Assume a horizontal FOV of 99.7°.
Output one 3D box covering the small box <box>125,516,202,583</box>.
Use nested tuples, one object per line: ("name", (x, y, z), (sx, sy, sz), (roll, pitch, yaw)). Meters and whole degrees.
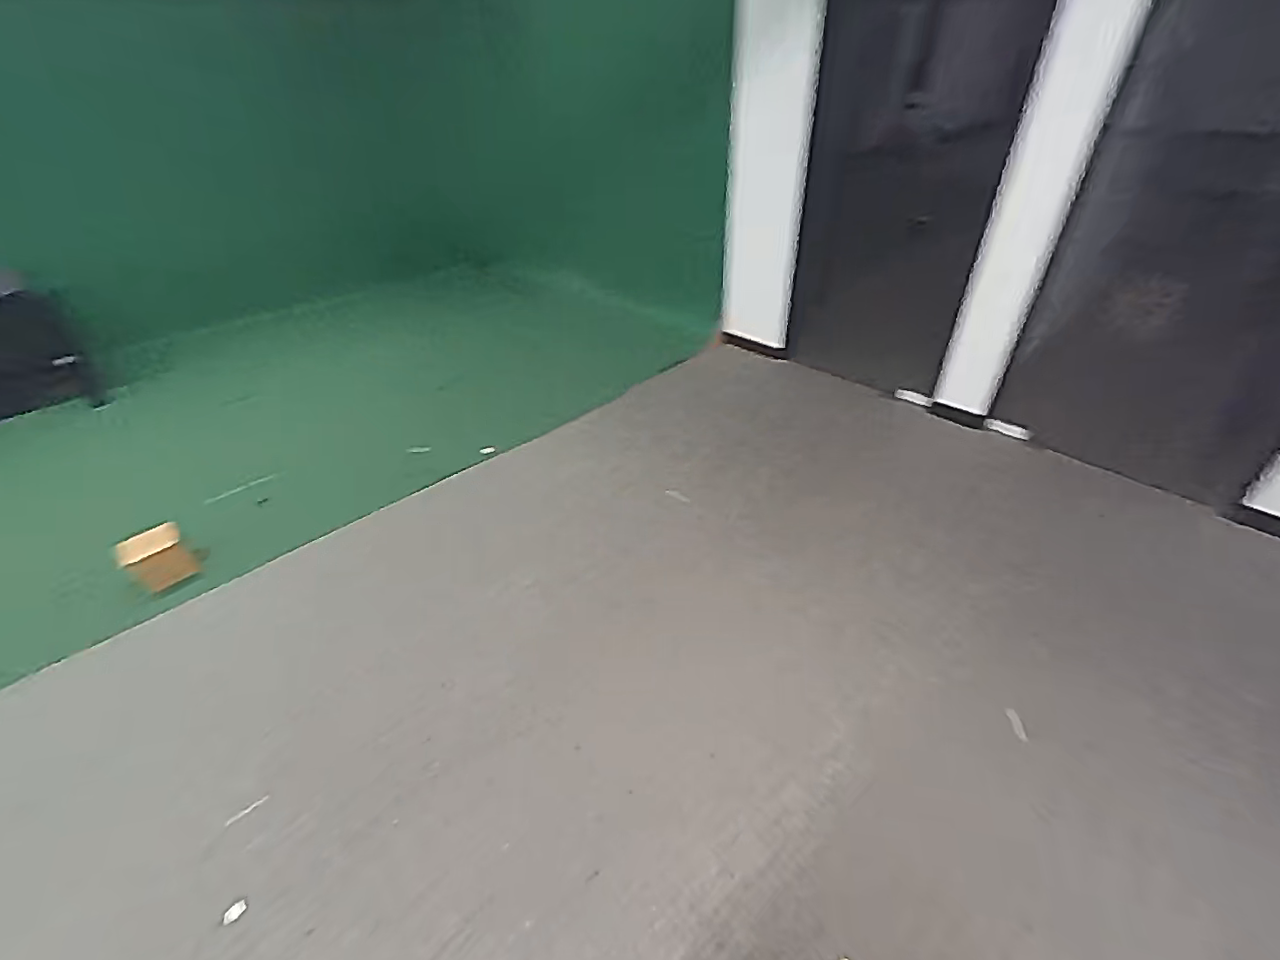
("small box", (-1.880, 0.282, 2.139), (0.168, 0.176, 0.179), (-33, 46, -31))
